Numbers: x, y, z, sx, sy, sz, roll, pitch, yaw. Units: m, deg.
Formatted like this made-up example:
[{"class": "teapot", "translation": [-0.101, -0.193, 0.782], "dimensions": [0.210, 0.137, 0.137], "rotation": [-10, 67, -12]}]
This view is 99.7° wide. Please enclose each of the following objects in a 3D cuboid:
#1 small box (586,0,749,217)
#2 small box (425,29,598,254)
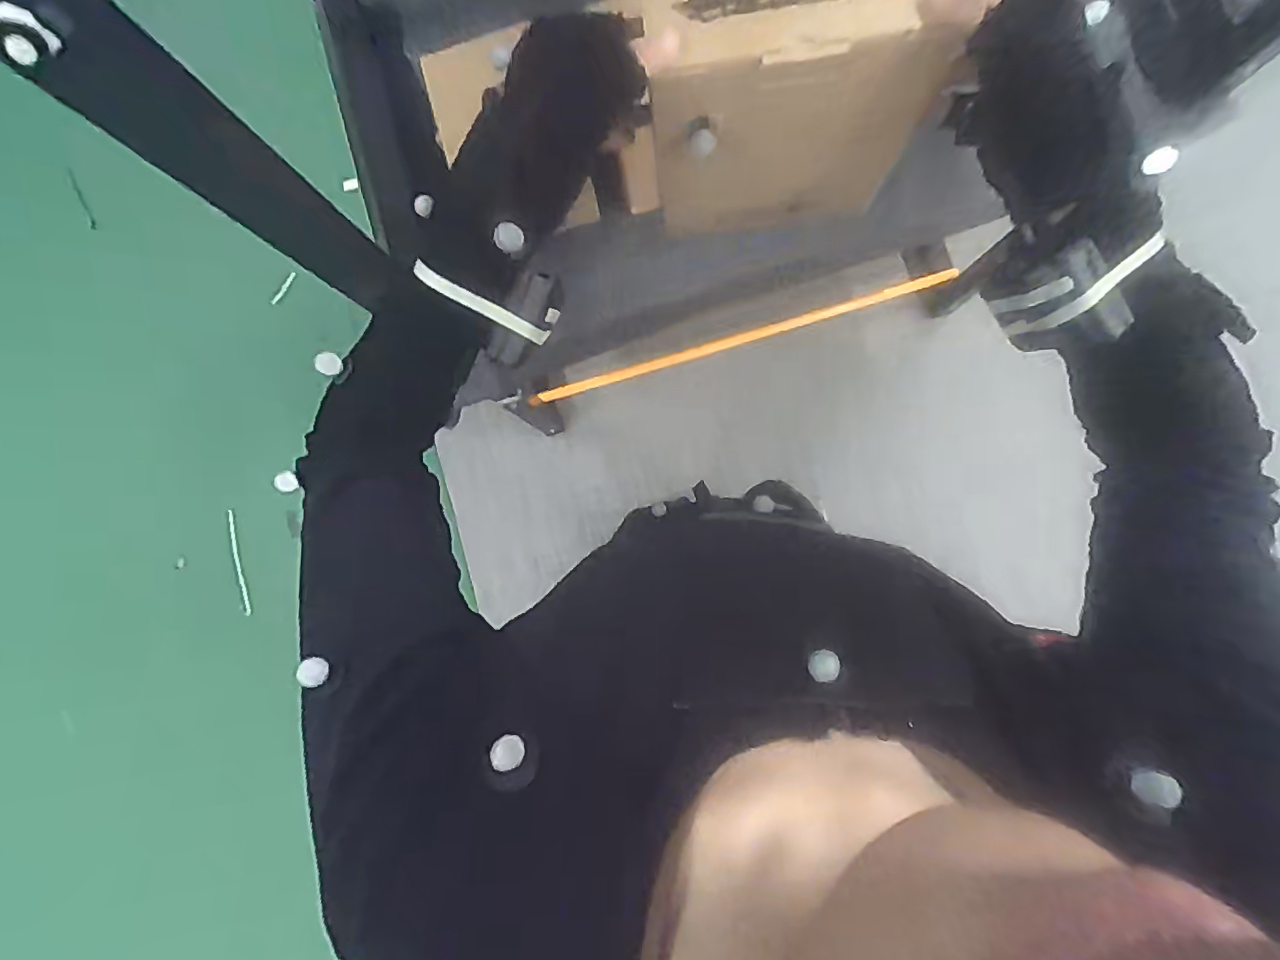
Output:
[{"class": "small box", "translation": [0.035, -0.502, 0.739], "dimensions": [0.168, 0.176, 0.179], "rotation": [-16, 84, 2]}, {"class": "small box", "translation": [-0.165, -0.450, 0.745], "dimensions": [0.168, 0.176, 0.179], "rotation": [-17, 84, 2]}]
